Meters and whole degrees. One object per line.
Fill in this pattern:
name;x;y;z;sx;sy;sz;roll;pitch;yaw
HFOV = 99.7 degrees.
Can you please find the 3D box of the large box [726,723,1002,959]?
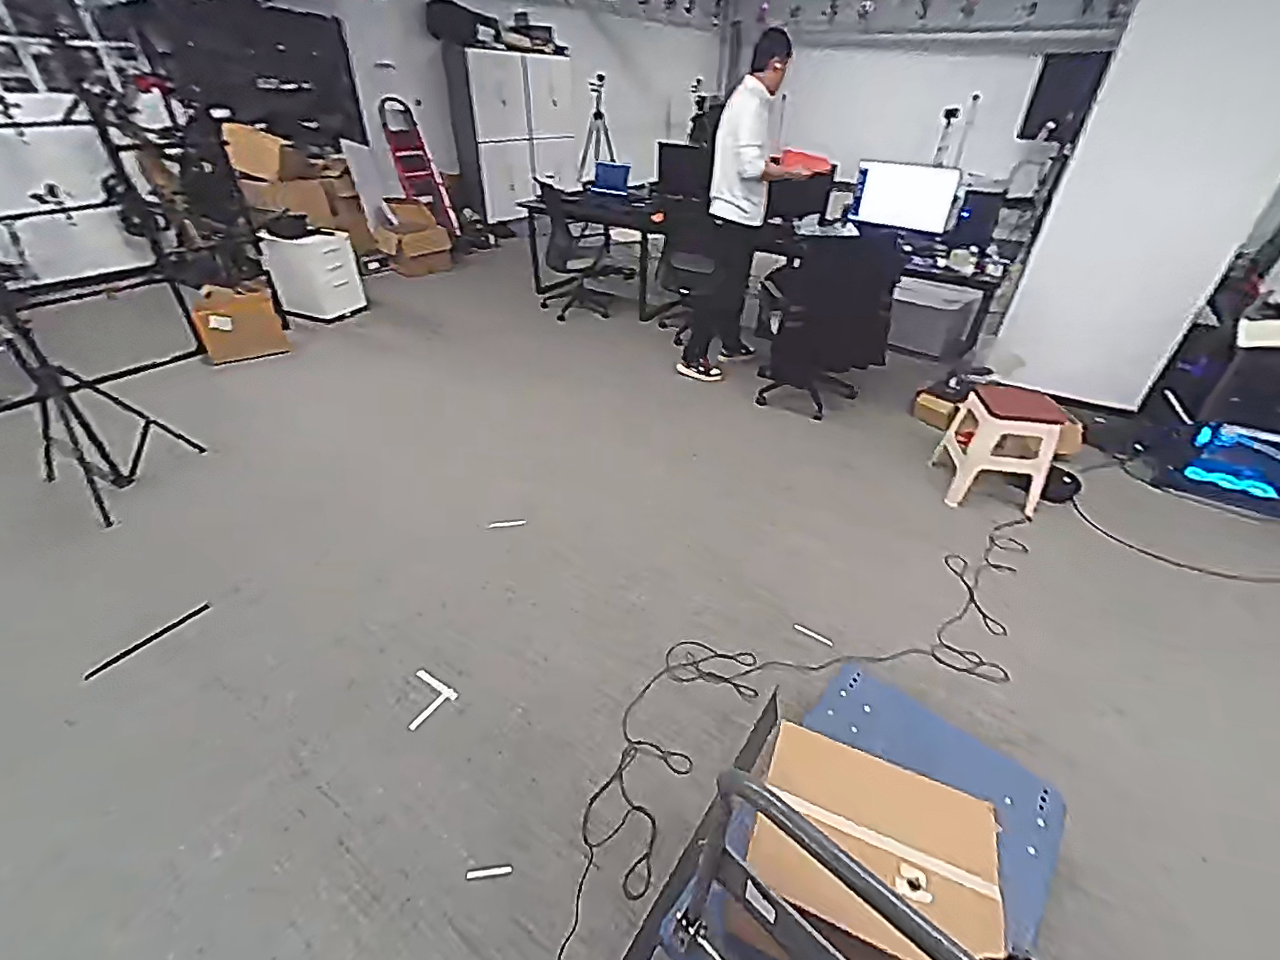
large box;0.416;0.762;1.058;0.408;0.320;0.320;16;40;19
